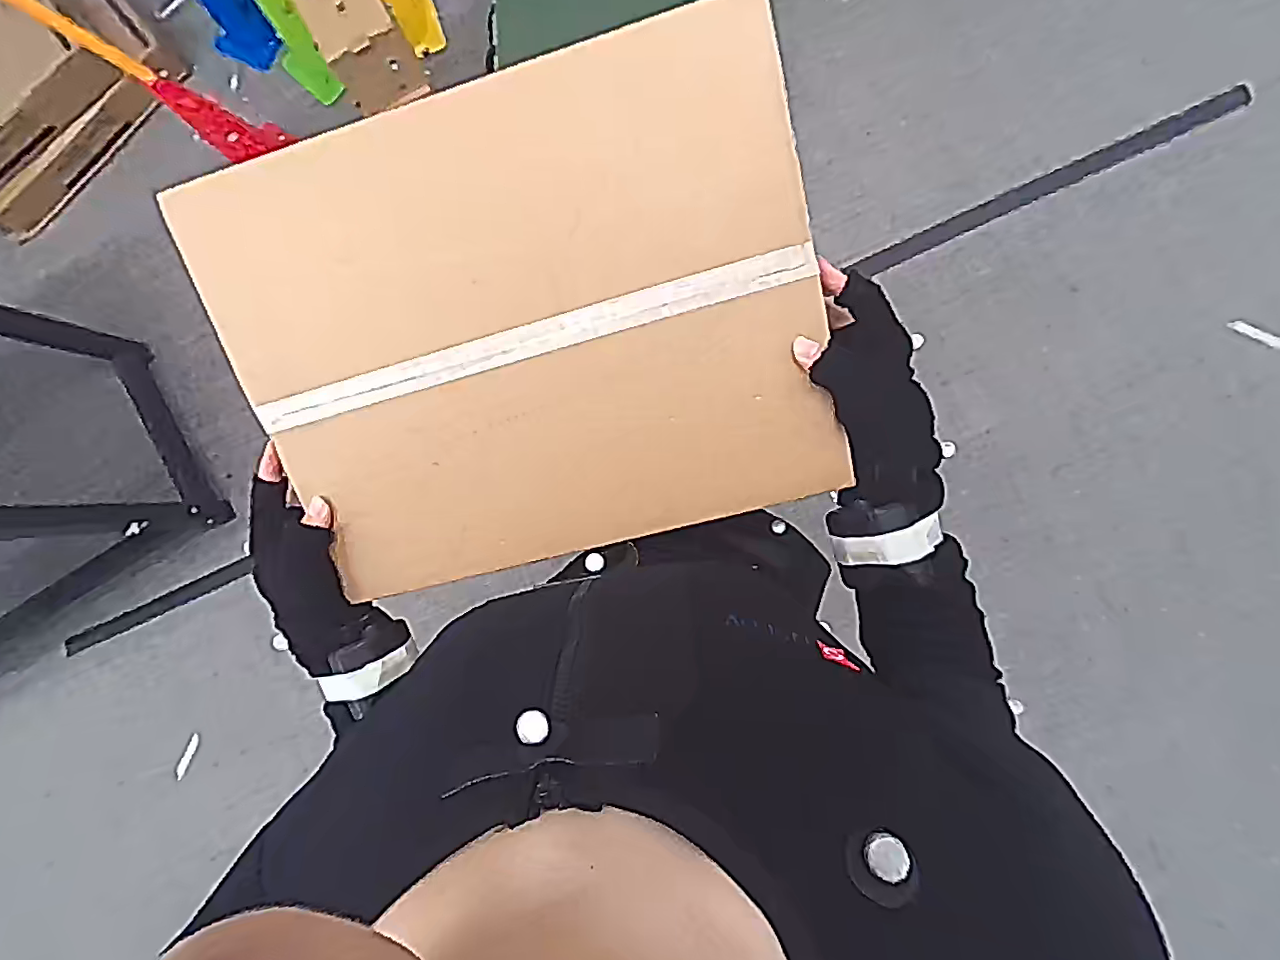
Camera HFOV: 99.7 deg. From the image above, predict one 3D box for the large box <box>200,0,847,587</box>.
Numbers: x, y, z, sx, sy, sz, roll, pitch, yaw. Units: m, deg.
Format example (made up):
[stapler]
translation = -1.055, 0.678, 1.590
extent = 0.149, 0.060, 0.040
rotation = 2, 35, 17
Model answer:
[large box]
translation = -0.069, -0.139, 0.526
extent = 0.408, 0.320, 0.320
rotation = -14, 106, 7
